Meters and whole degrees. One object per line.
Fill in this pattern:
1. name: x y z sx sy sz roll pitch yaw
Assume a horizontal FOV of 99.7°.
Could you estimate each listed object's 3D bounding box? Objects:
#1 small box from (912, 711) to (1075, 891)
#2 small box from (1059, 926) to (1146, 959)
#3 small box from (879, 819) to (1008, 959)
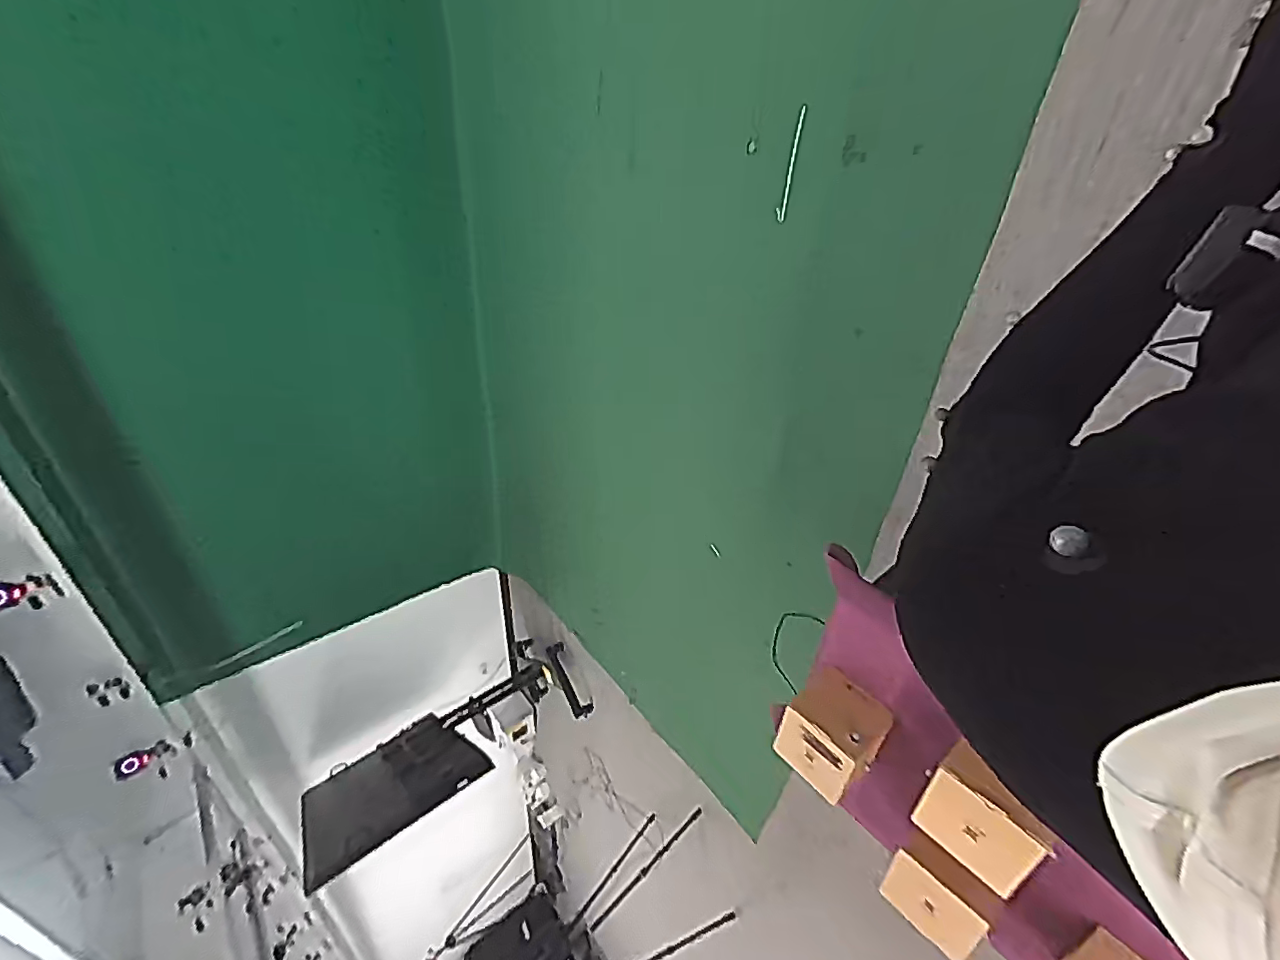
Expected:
1. small box: 0.619 0.553 0.949 0.168 0.176 0.179 33 132 40
2. small box: 0.798 0.905 0.900 0.168 0.176 0.179 33 133 40
3. small box: 0.615 0.782 1.079 0.168 0.176 0.179 31 130 39
